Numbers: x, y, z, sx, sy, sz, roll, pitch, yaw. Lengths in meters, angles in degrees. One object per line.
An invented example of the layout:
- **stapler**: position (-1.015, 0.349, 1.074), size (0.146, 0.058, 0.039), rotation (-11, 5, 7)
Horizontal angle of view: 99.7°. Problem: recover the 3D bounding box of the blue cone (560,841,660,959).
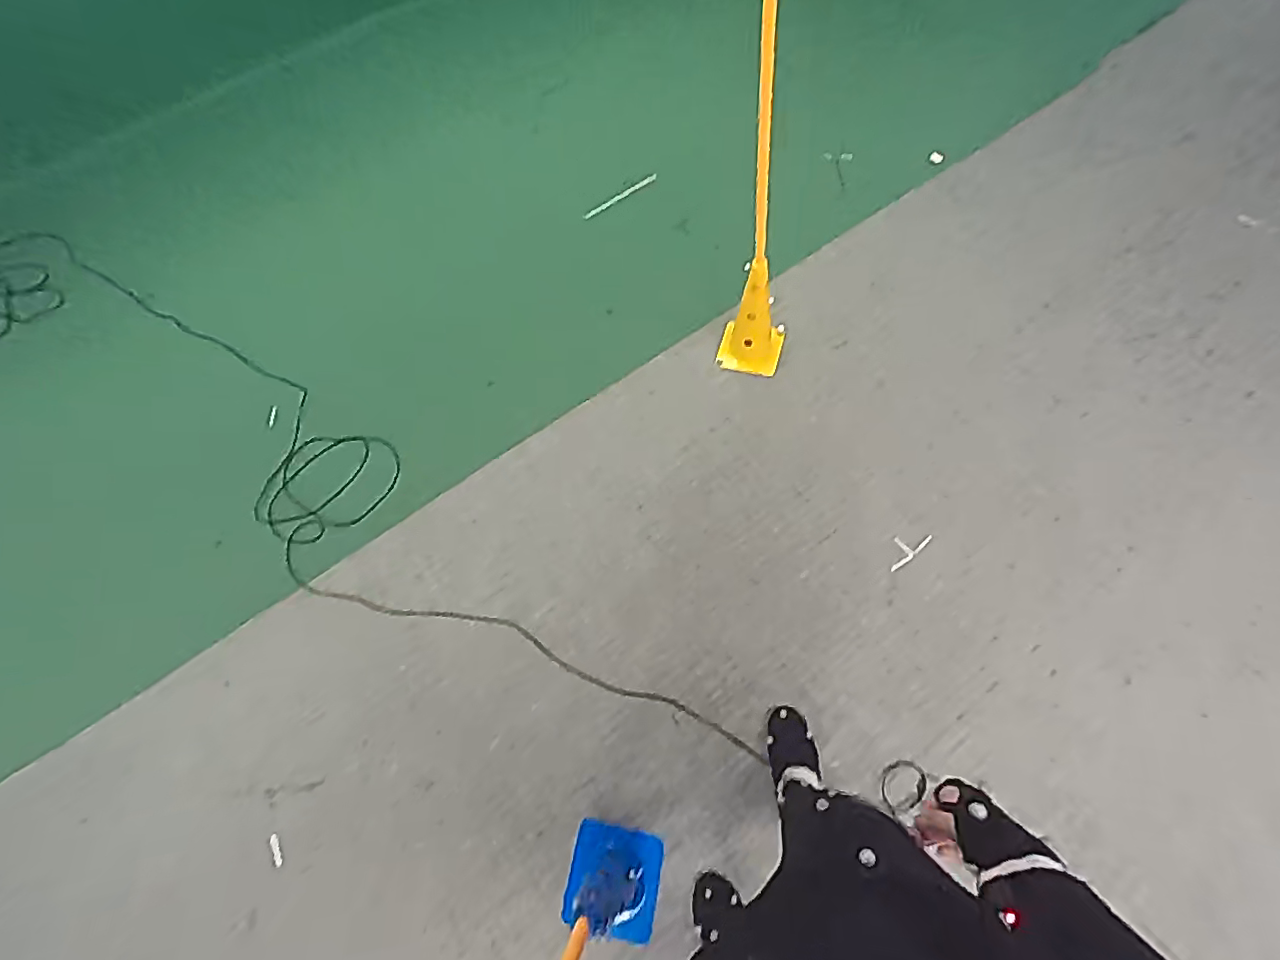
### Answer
- **blue cone**: position (-0.076, 0.824, 1.007), size (0.192, 0.380, 0.193), rotation (6, 66, 10)
